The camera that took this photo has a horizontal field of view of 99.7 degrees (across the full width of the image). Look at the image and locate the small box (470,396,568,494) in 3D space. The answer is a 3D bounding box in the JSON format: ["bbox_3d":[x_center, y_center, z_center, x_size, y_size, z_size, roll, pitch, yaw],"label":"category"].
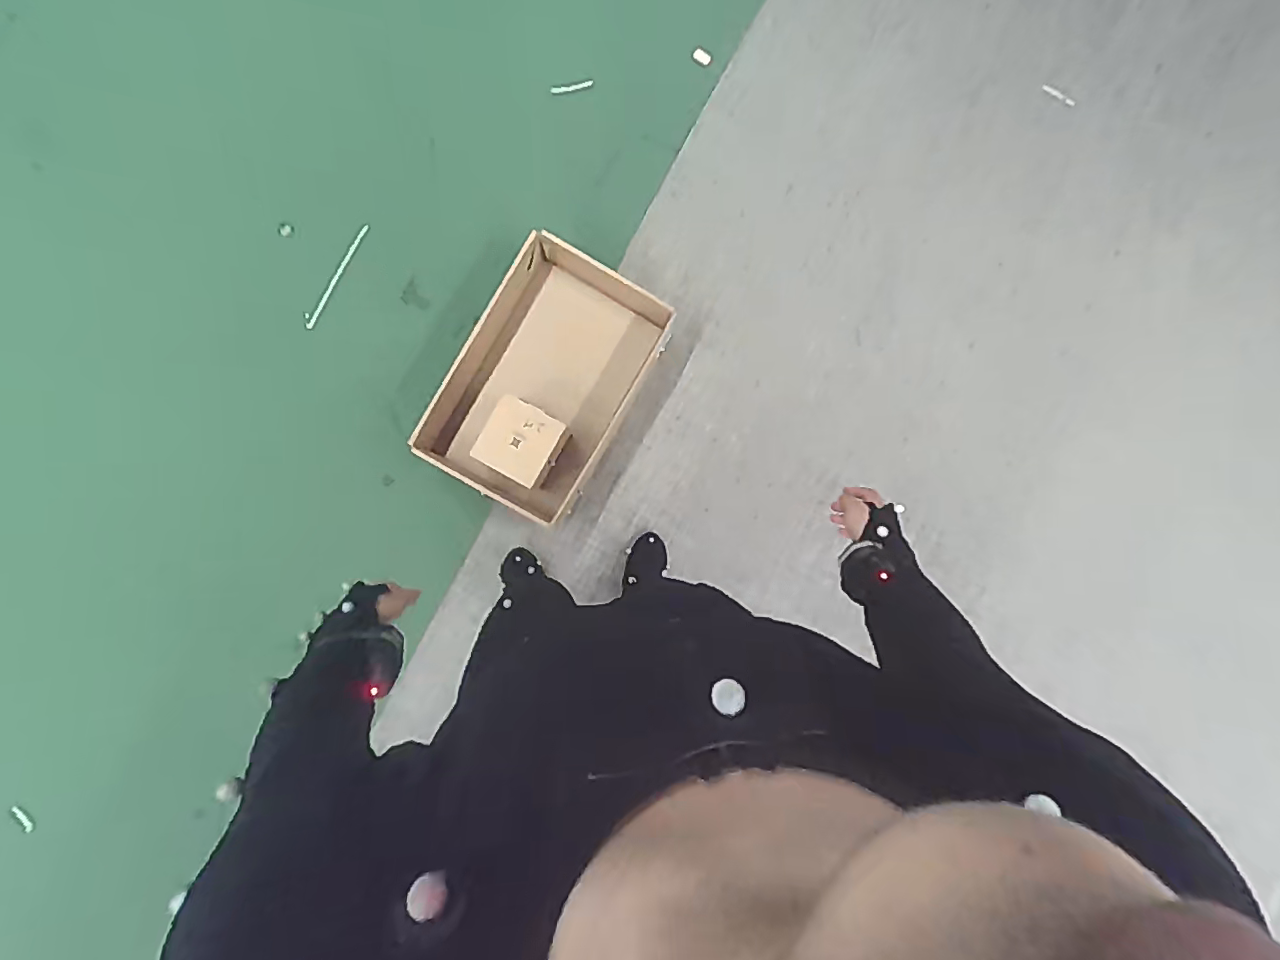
[{"bbox_3d":[-0.283,-0.079,1.318,0.168,0.176,0.179,29,86,-3],"label":"small box"}]
